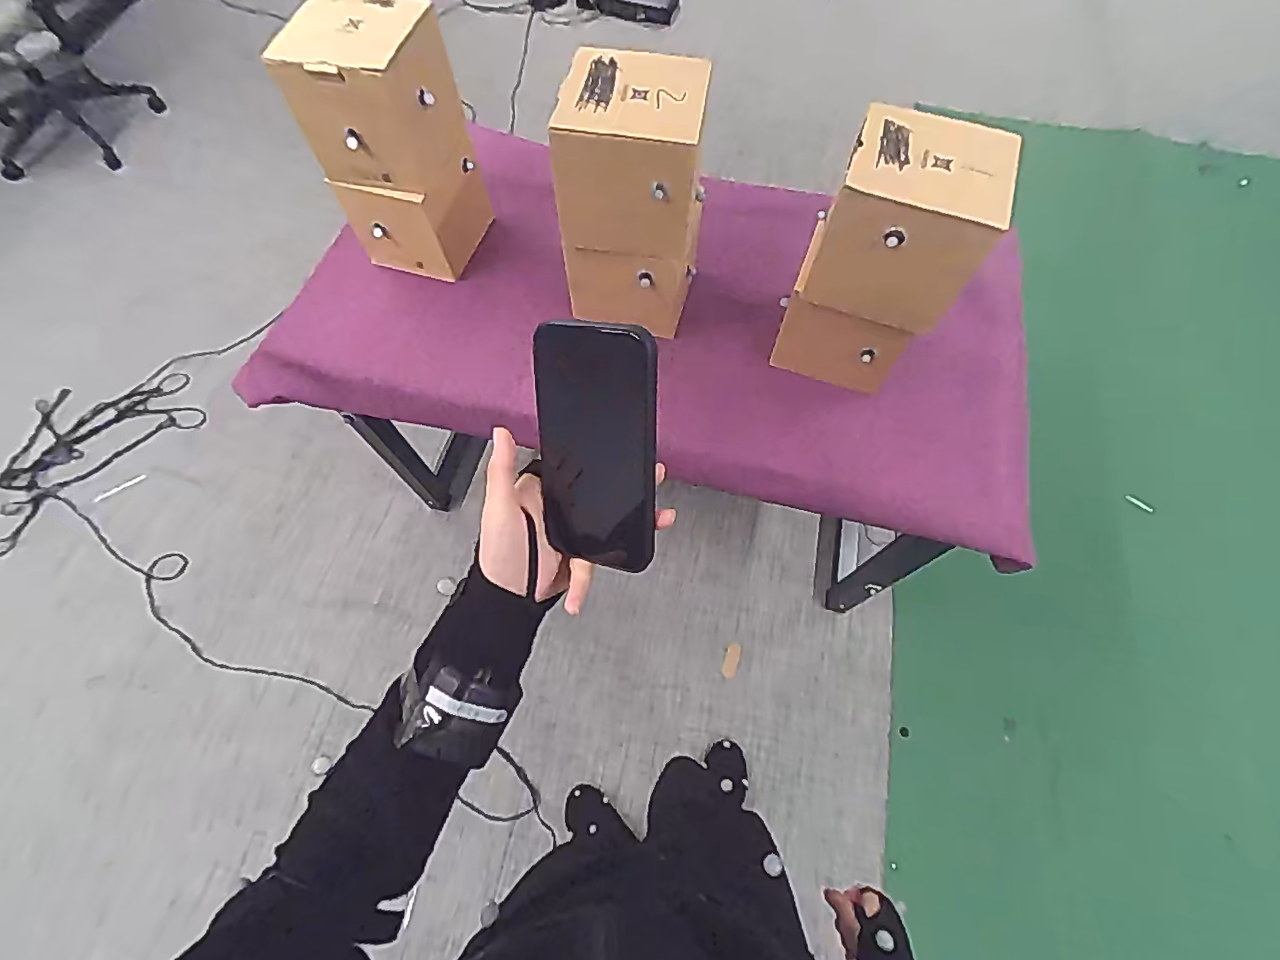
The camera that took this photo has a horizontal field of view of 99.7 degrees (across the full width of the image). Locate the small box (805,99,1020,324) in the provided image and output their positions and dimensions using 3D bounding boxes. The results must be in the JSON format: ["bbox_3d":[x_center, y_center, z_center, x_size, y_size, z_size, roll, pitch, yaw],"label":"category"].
[{"bbox_3d":[0.321,-0.321,0.665,0.179,0.176,0.168,19,66,9],"label":"small box"}]

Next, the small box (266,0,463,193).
[{"bbox_3d":[-0.376,-0.548,0.779,0.168,0.176,0.179,10,66,5],"label":"small box"}]

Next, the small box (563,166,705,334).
[{"bbox_3d":[-0.006,-0.360,0.866,0.179,0.176,0.168,14,65,7],"label":"small box"}]

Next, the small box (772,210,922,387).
[{"bbox_3d":[0.319,-0.266,0.819,0.179,0.176,0.168,19,66,10],"label":"small box"}]

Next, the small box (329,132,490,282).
[{"bbox_3d":[-0.376,-0.470,0.923,0.168,0.176,0.179,14,65,7],"label":"small box"}]
